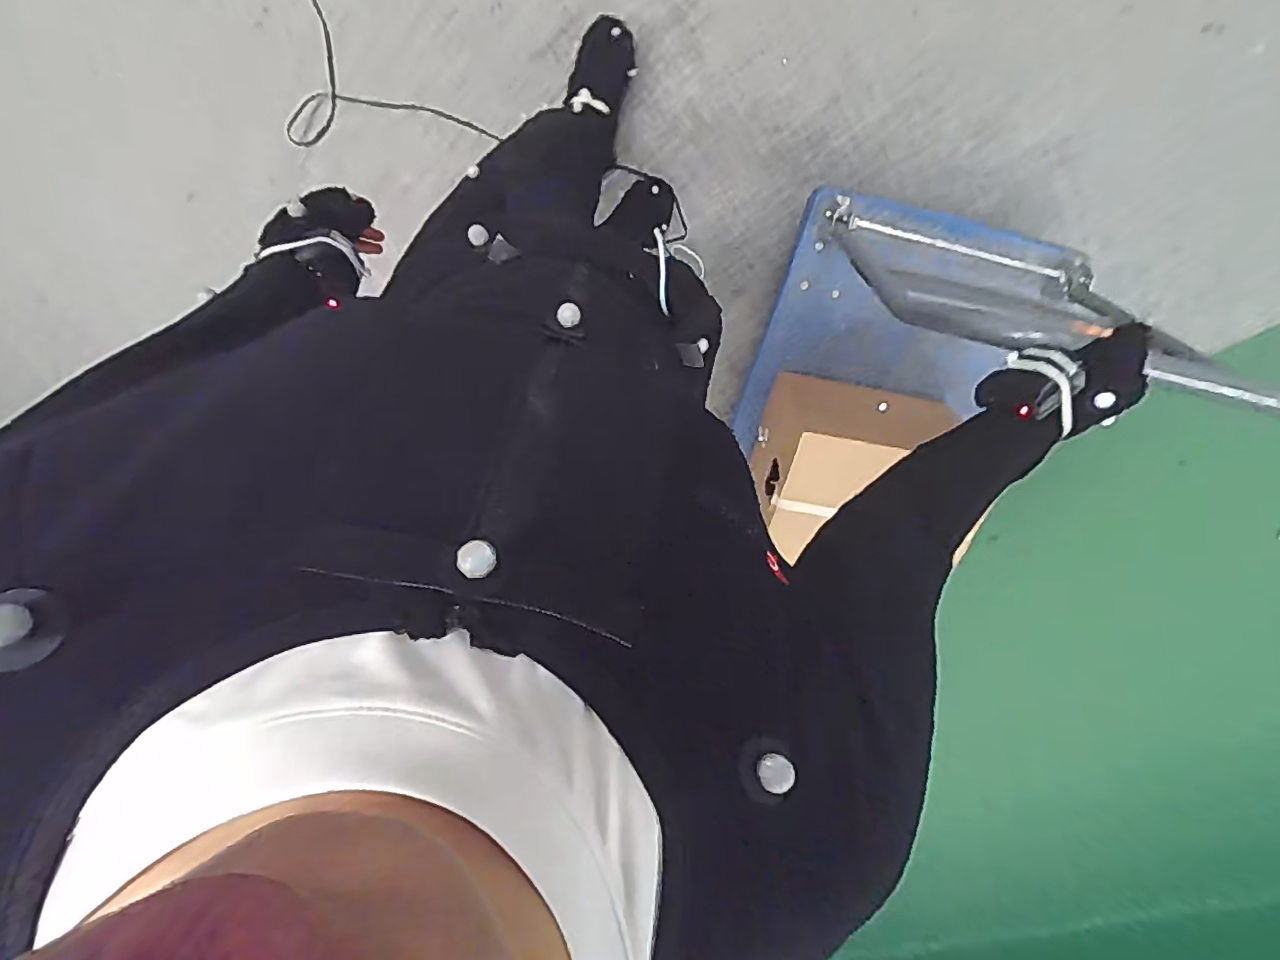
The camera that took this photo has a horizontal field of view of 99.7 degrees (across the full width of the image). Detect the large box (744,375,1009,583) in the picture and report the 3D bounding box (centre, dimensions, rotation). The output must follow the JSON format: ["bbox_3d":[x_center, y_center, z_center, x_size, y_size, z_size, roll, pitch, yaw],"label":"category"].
[{"bbox_3d":[0.474,-0.012,1.199,0.408,0.320,0.320,9,123,-2],"label":"large box"}]
